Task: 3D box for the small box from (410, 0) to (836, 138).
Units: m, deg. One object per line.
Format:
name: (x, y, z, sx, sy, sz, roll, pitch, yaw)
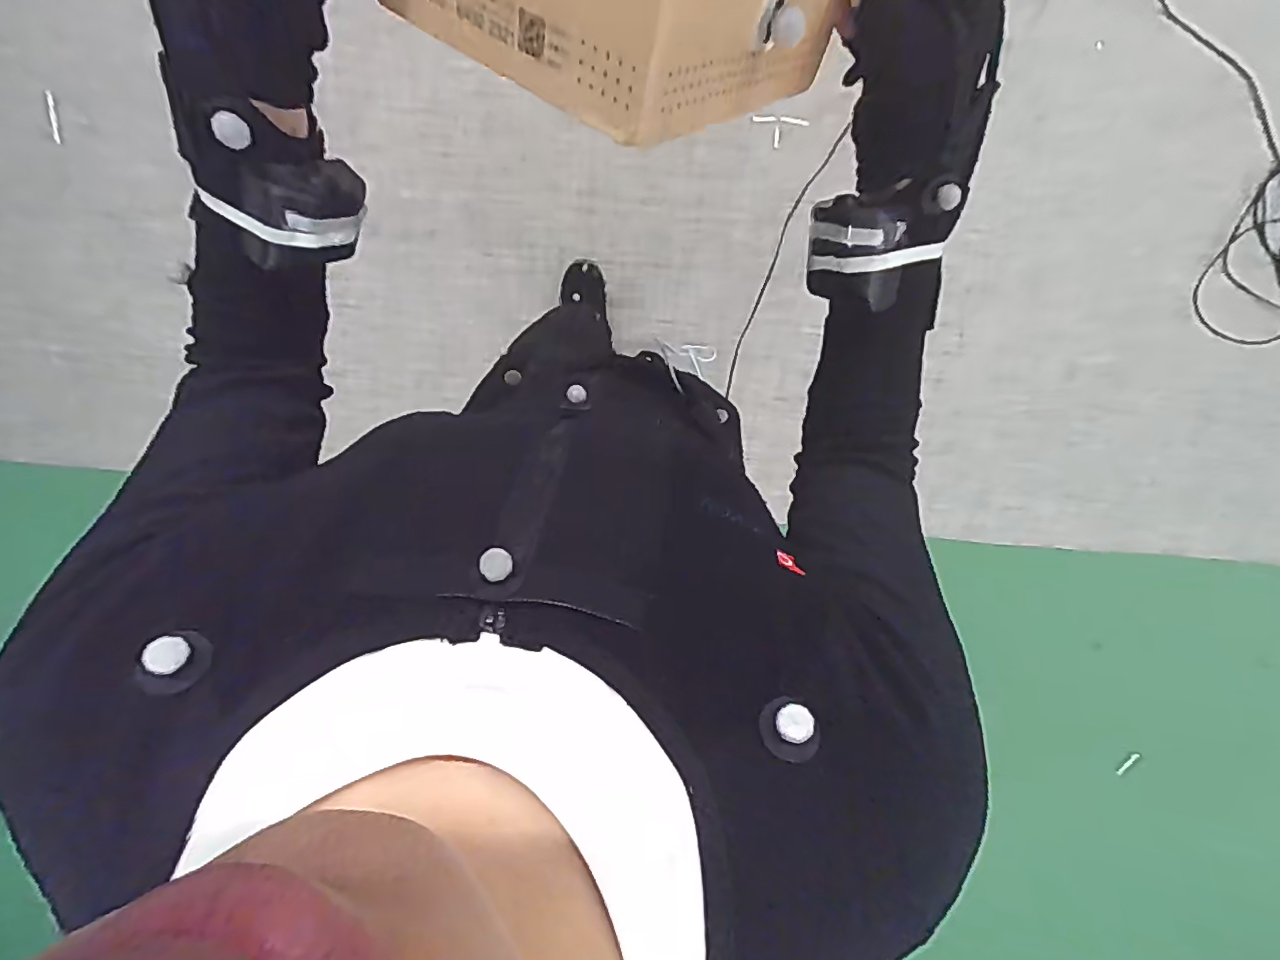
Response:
small box: (0.007, -0.286, 0.234, 0.168, 0.179, 0.176, 38, 146, 13)
